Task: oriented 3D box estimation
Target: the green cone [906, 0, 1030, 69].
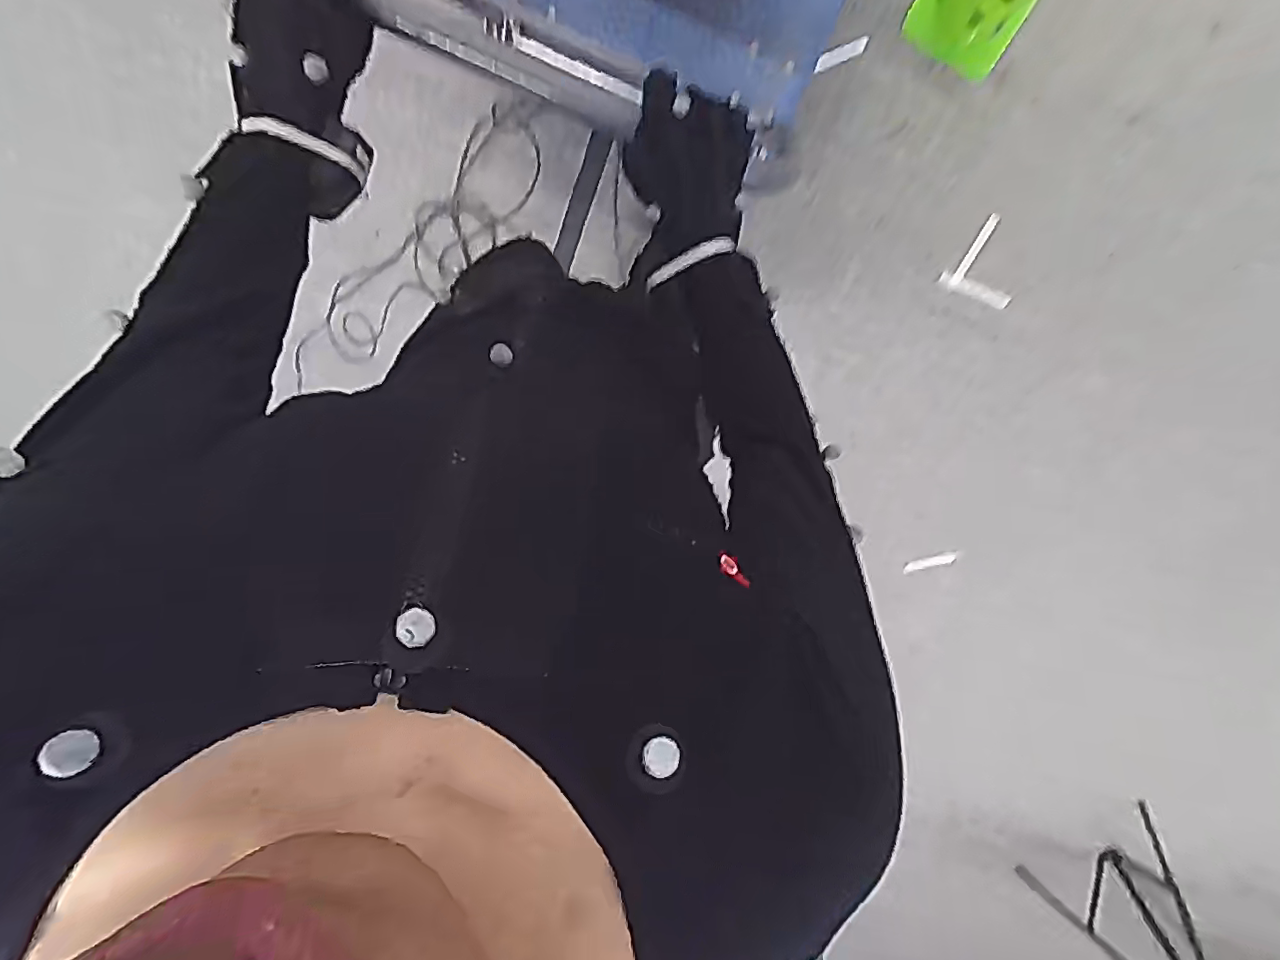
[{"bbox_3d":[0.615,-0.833,0.858,0.202,0.368,0.200,25,119,-9],"label":"green cone"}]
